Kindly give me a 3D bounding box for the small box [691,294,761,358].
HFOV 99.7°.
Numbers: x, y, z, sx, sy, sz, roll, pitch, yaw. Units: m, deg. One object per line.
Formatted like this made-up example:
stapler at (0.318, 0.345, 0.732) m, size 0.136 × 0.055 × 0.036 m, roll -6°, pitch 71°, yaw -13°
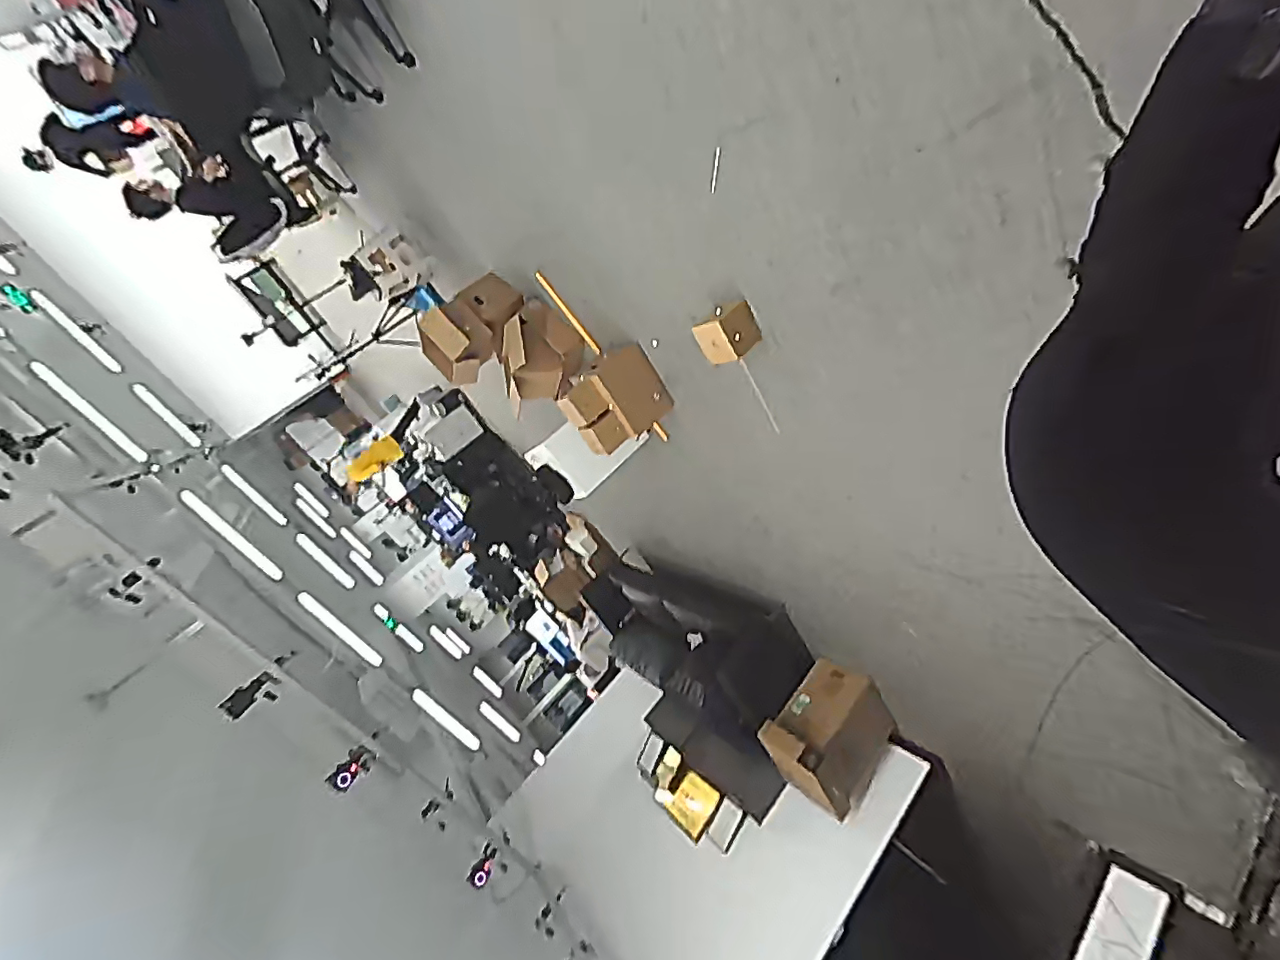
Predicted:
small box at (0.340, -0.608, 2.117) m, size 0.179 × 0.176 × 0.168 m, roll 53°, pitch 158°, yaw -24°
